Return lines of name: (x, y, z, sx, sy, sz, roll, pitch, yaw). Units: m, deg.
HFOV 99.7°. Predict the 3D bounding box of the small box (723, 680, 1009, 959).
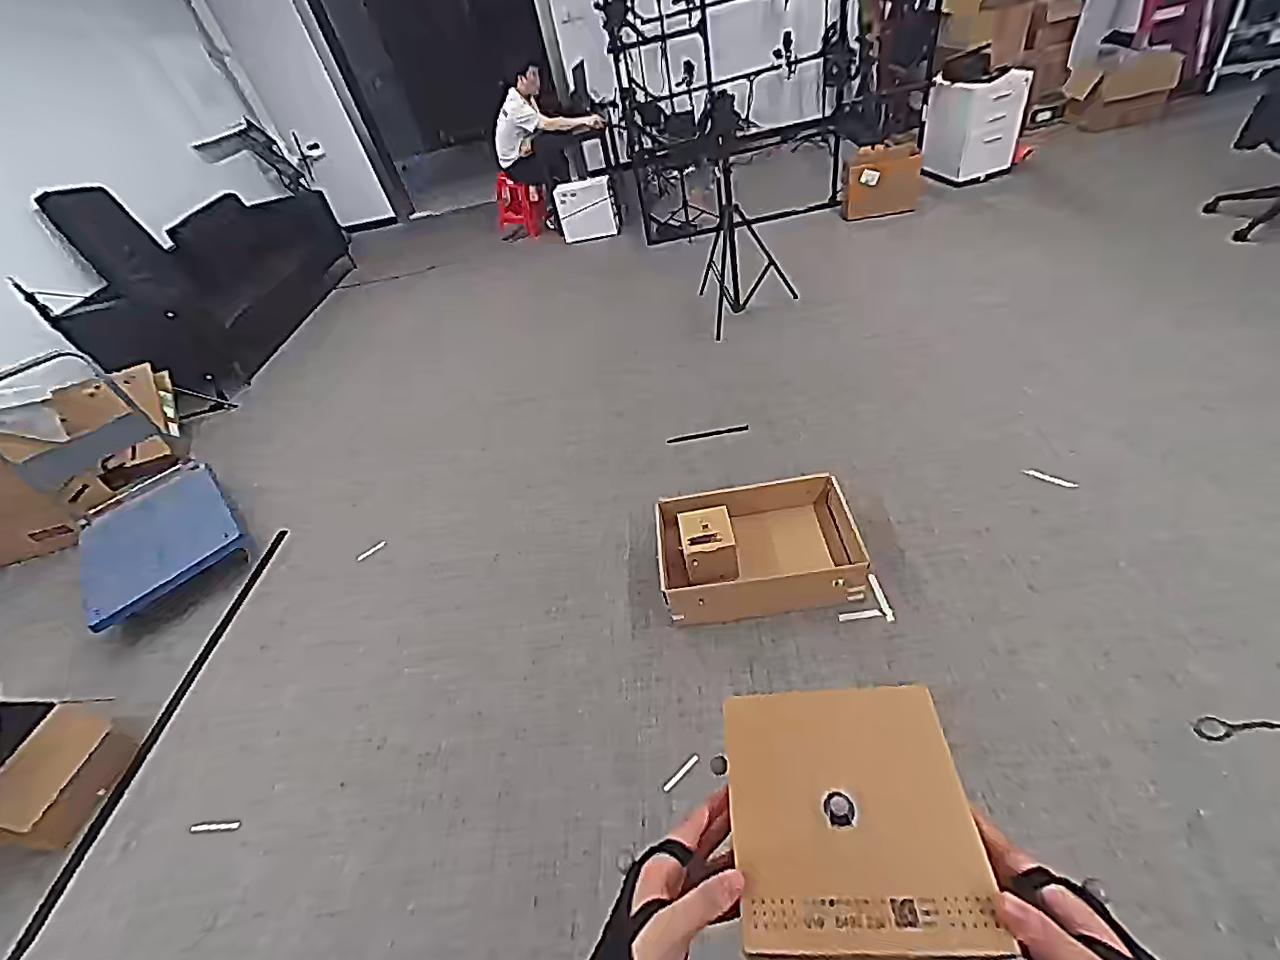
small box: (0.166, 0.287, 0.447, 0.168, 0.179, 0.176, -7, 45, 10)
